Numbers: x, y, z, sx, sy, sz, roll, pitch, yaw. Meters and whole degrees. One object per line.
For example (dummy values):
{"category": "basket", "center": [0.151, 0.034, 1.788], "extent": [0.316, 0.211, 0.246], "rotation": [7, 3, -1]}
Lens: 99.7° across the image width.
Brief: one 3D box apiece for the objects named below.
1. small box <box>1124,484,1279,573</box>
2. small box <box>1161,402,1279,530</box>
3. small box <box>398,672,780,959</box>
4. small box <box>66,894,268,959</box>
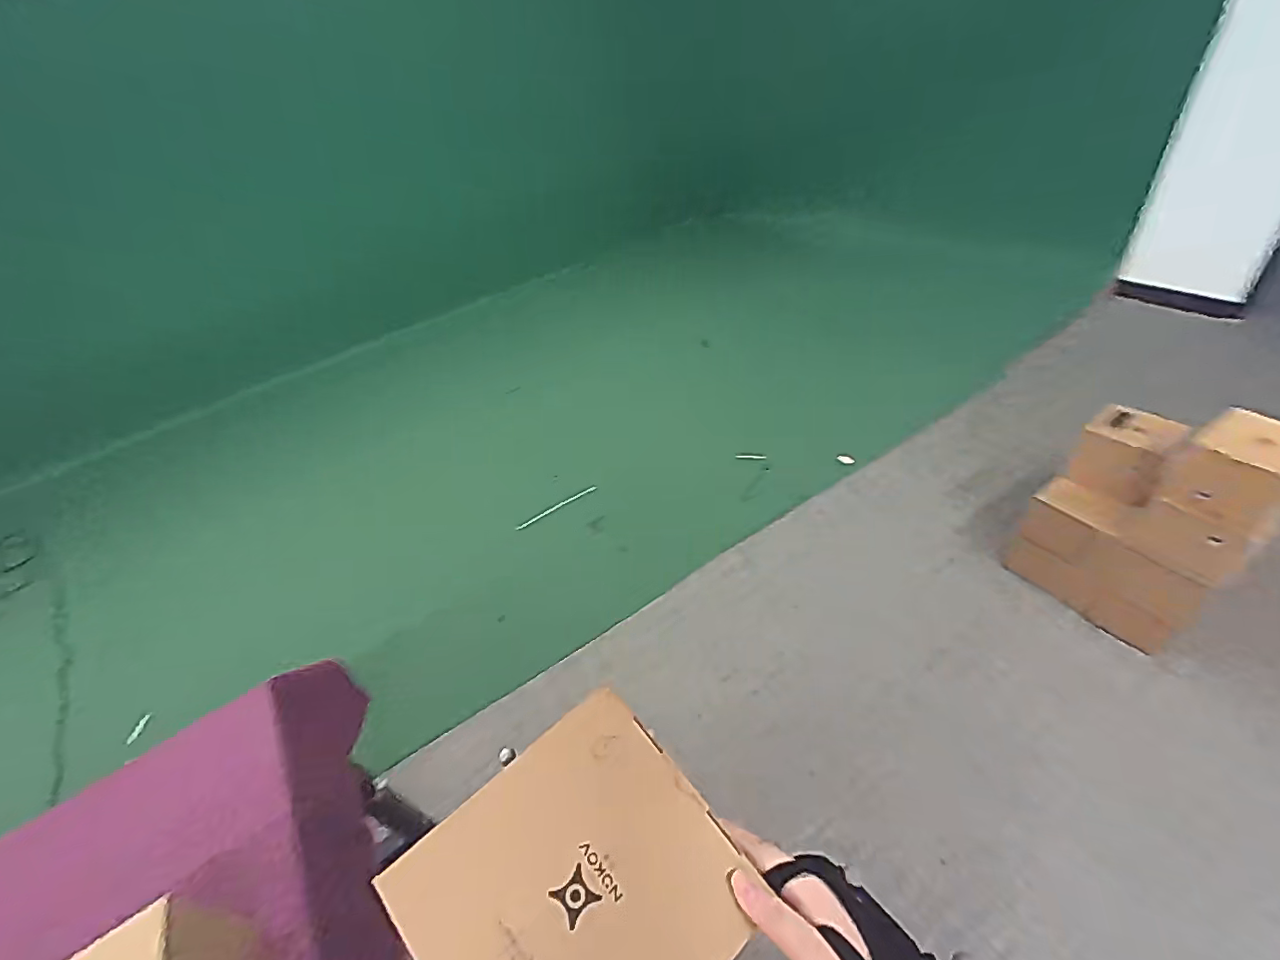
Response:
{"category": "small box", "center": [1.291, 0.090, 1.247], "extent": [0.168, 0.176, 0.179], "rotation": [-28, 44, -17]}
{"category": "small box", "center": [1.267, -0.030, 1.140], "extent": [0.179, 0.176, 0.168], "rotation": [-29, 45, -16]}
{"category": "small box", "center": [-0.036, 0.273, 0.393], "extent": [0.179, 0.176, 0.168], "rotation": [-34, 68, -22]}
{"category": "small box", "center": [-0.519, 0.589, 0.564], "extent": [0.168, 0.176, 0.179], "rotation": [-31, 44, -18]}
